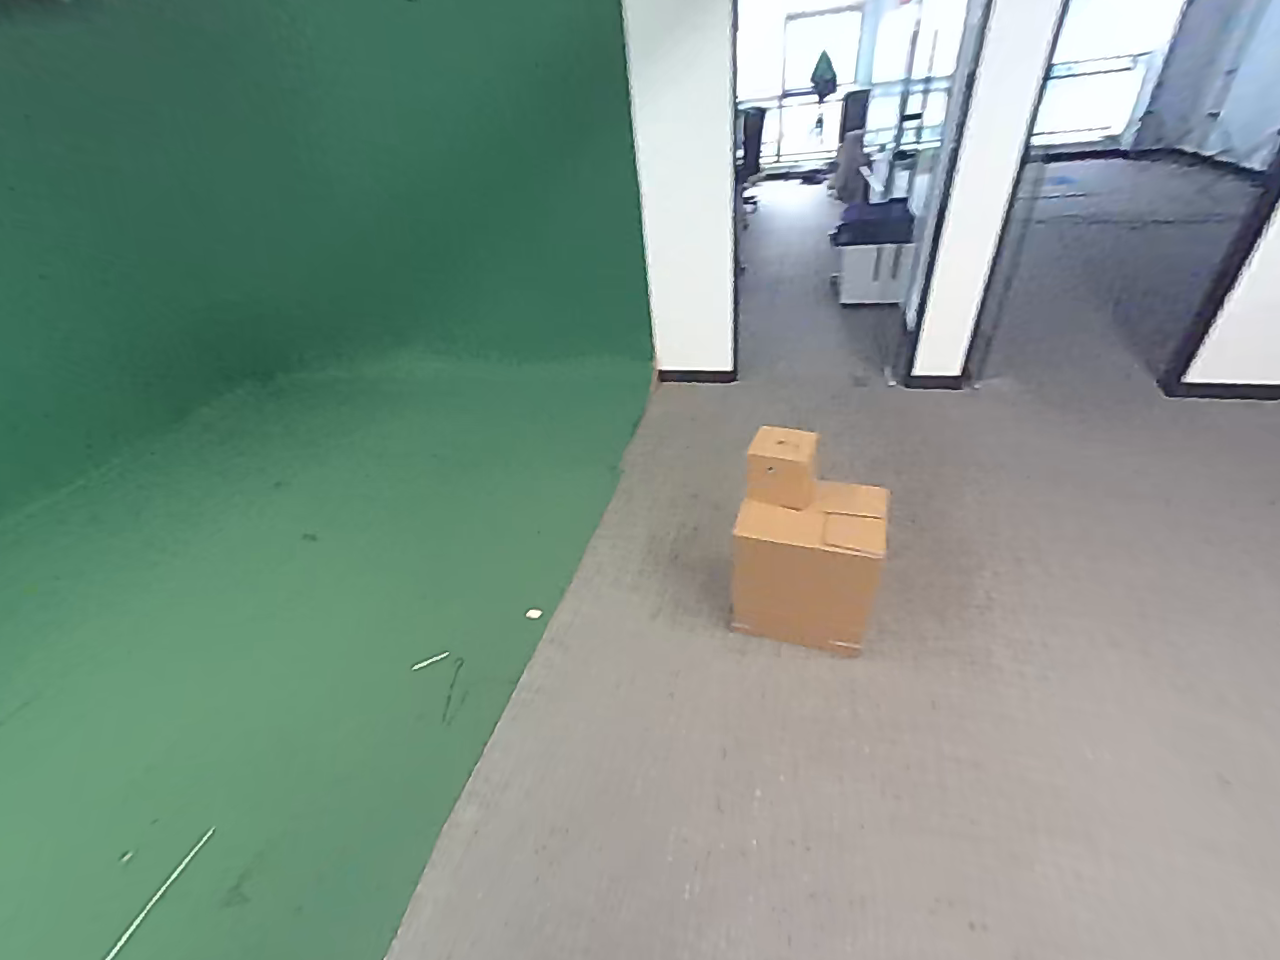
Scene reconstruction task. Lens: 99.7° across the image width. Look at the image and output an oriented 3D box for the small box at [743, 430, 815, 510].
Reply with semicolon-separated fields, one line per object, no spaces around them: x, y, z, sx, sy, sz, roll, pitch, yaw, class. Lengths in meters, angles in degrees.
0.416;-0.030;1.629;0.179;0.176;0.168;11;40;24;small box
